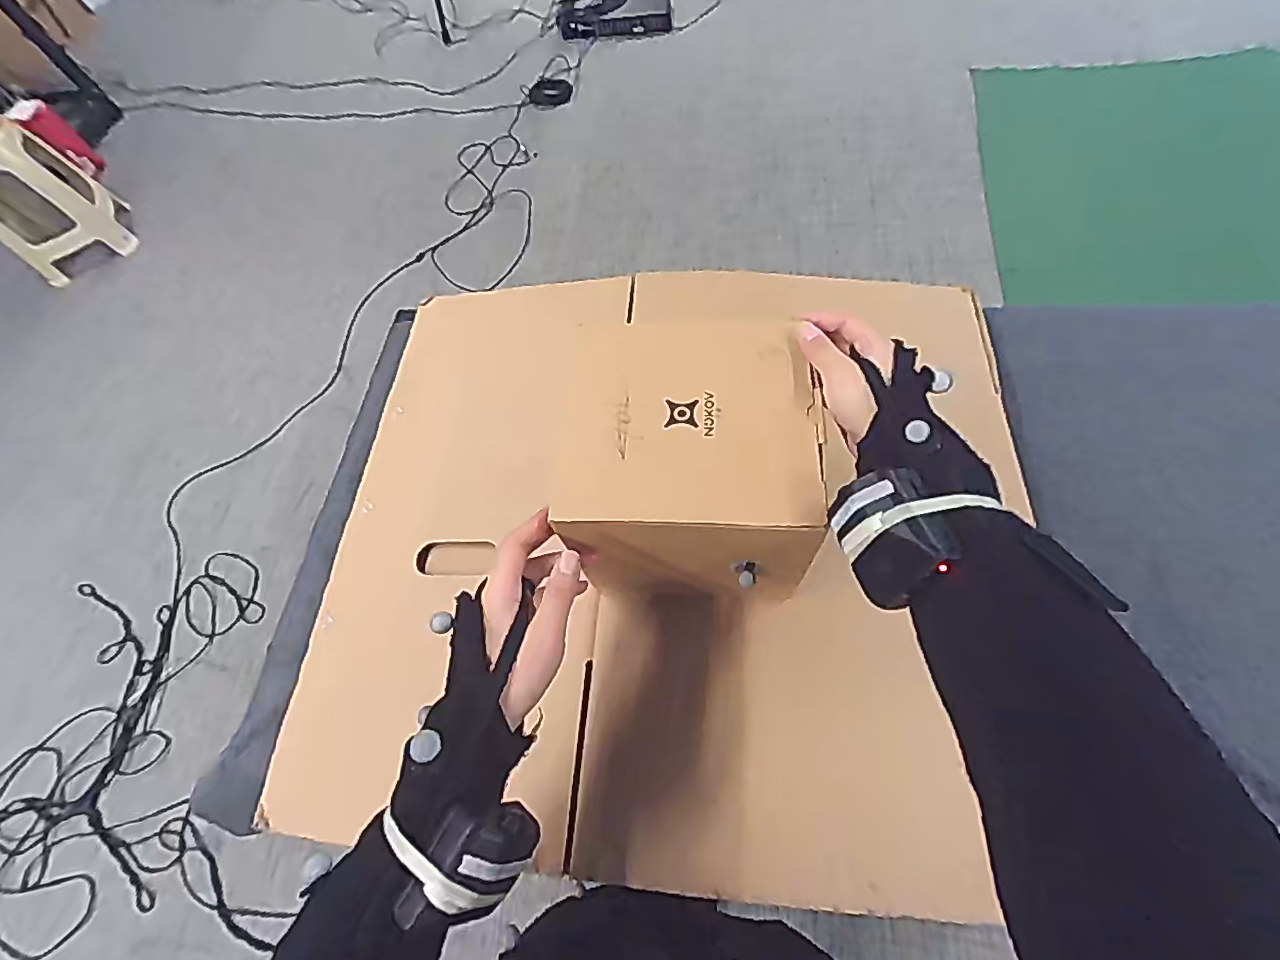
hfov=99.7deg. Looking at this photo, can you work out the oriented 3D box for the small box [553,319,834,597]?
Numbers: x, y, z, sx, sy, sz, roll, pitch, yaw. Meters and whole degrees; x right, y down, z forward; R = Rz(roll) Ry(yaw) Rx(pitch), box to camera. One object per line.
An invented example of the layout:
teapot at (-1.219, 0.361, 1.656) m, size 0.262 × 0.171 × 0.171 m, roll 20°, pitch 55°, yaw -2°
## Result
small box at (0.044, -0.008, 0.439) m, size 0.179 × 0.176 × 0.168 m, roll 0°, pitch 62°, yaw 7°
